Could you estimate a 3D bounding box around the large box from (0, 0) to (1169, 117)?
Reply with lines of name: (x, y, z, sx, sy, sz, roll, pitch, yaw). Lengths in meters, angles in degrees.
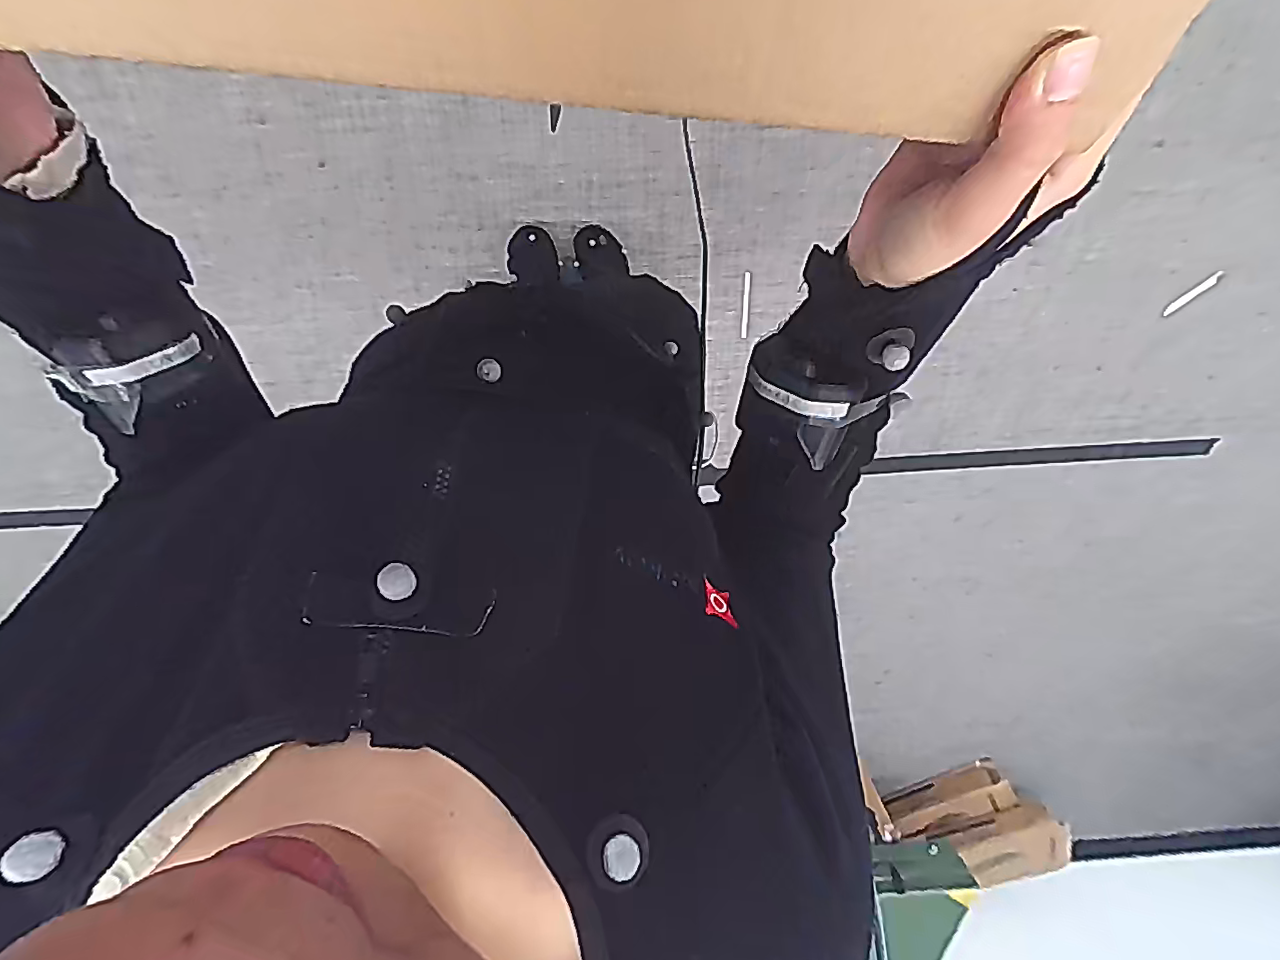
large box: (-0.036, -0.336, 0.123, 0.408, 0.320, 0.320, 2, 150, -4)
